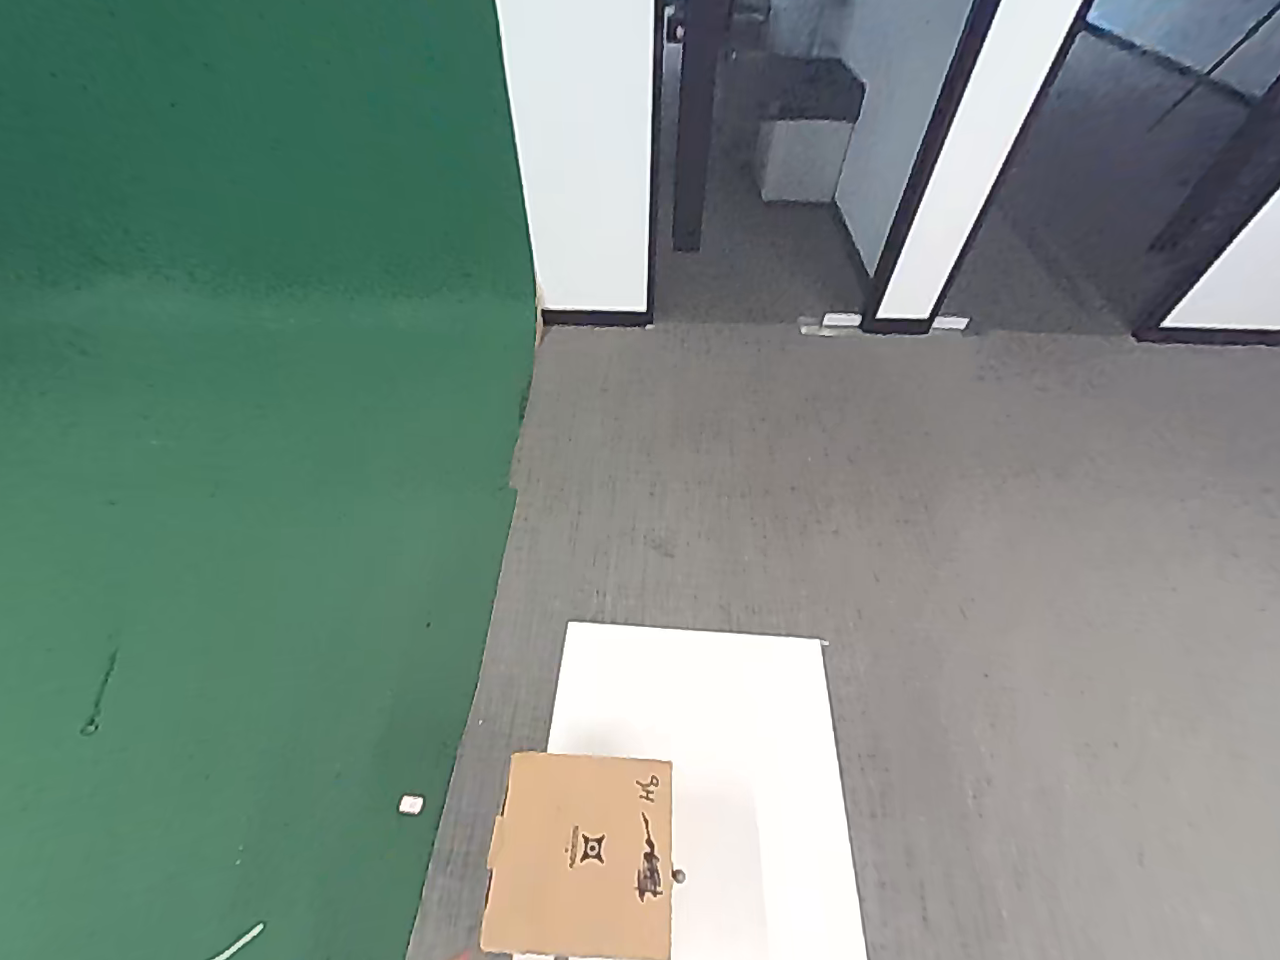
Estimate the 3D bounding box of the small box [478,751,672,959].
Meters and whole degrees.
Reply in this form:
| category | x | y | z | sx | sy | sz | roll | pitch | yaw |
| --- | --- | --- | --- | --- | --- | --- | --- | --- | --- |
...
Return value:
| category | x | y | z | sx | sy | sz | roll | pitch | yaw |
| --- | --- | --- | --- | --- | --- | --- | --- | --- | --- |
| small box | -0.057 | 0.413 | 0.596 | 0.179 | 0.176 | 0.168 | 3 | 50 | 0 |
